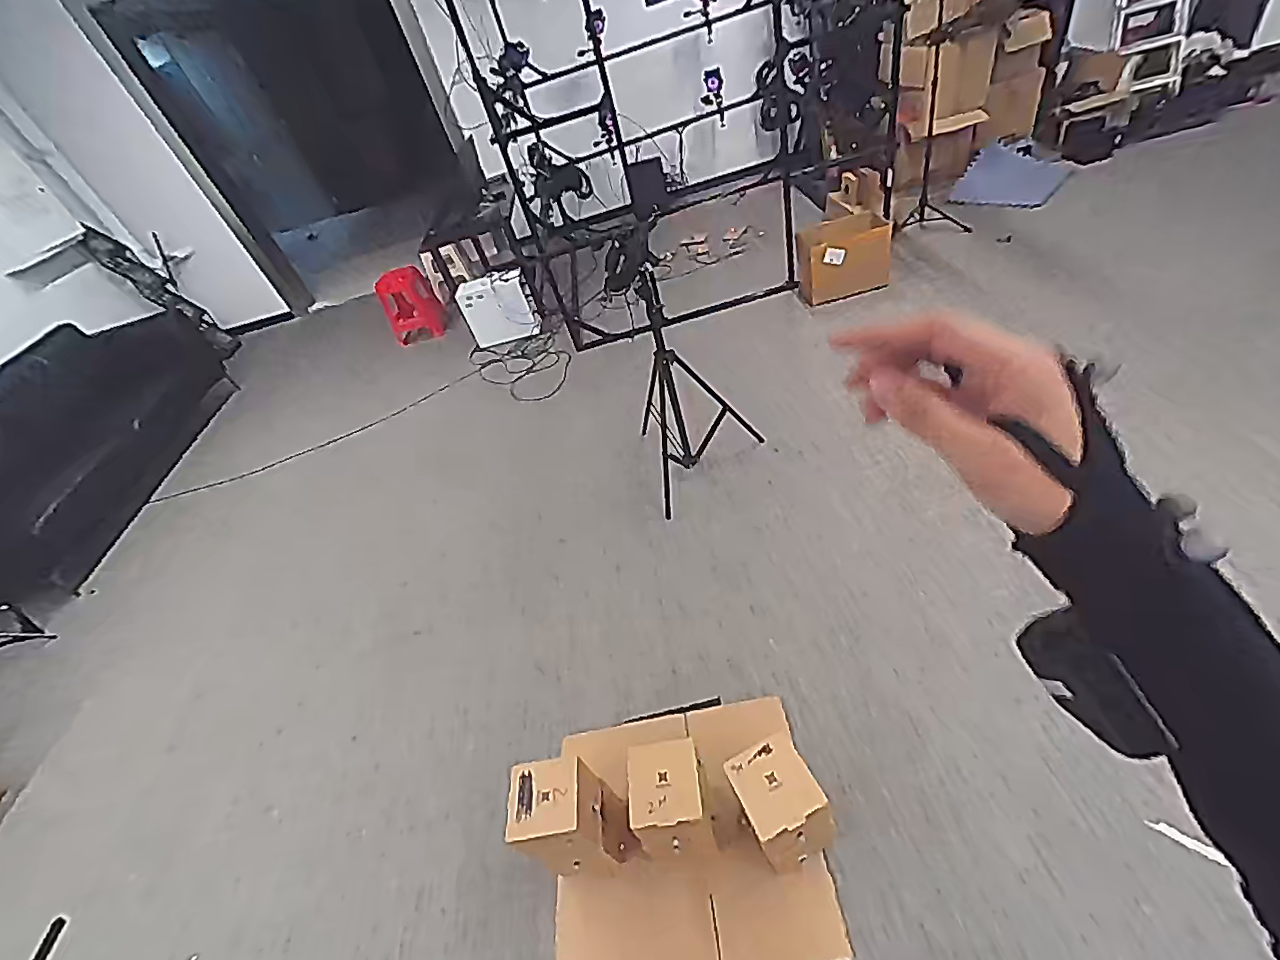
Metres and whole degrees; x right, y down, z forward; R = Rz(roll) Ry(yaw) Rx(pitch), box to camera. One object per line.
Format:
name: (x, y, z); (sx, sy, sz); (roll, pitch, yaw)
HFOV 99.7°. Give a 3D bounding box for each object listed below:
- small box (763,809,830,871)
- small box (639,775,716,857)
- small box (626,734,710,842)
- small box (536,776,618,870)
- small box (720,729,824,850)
small box: (0.352, 0.828, 1.349); (0.168, 0.176, 0.179); (-28, 42, -8)
small box: (0.097, 0.860, 1.407); (0.179, 0.176, 0.168); (-13, 43, 7)
small box: (0.067, 0.740, 1.296); (0.168, 0.176, 0.179); (-12, 43, 7)
small box: (-0.162, 0.914, 1.440); (0.179, 0.176, 0.168); (-15, 42, 7)
small box: (0.306, 0.715, 1.240); (0.168, 0.176, 0.179); (-26, 43, -7)
